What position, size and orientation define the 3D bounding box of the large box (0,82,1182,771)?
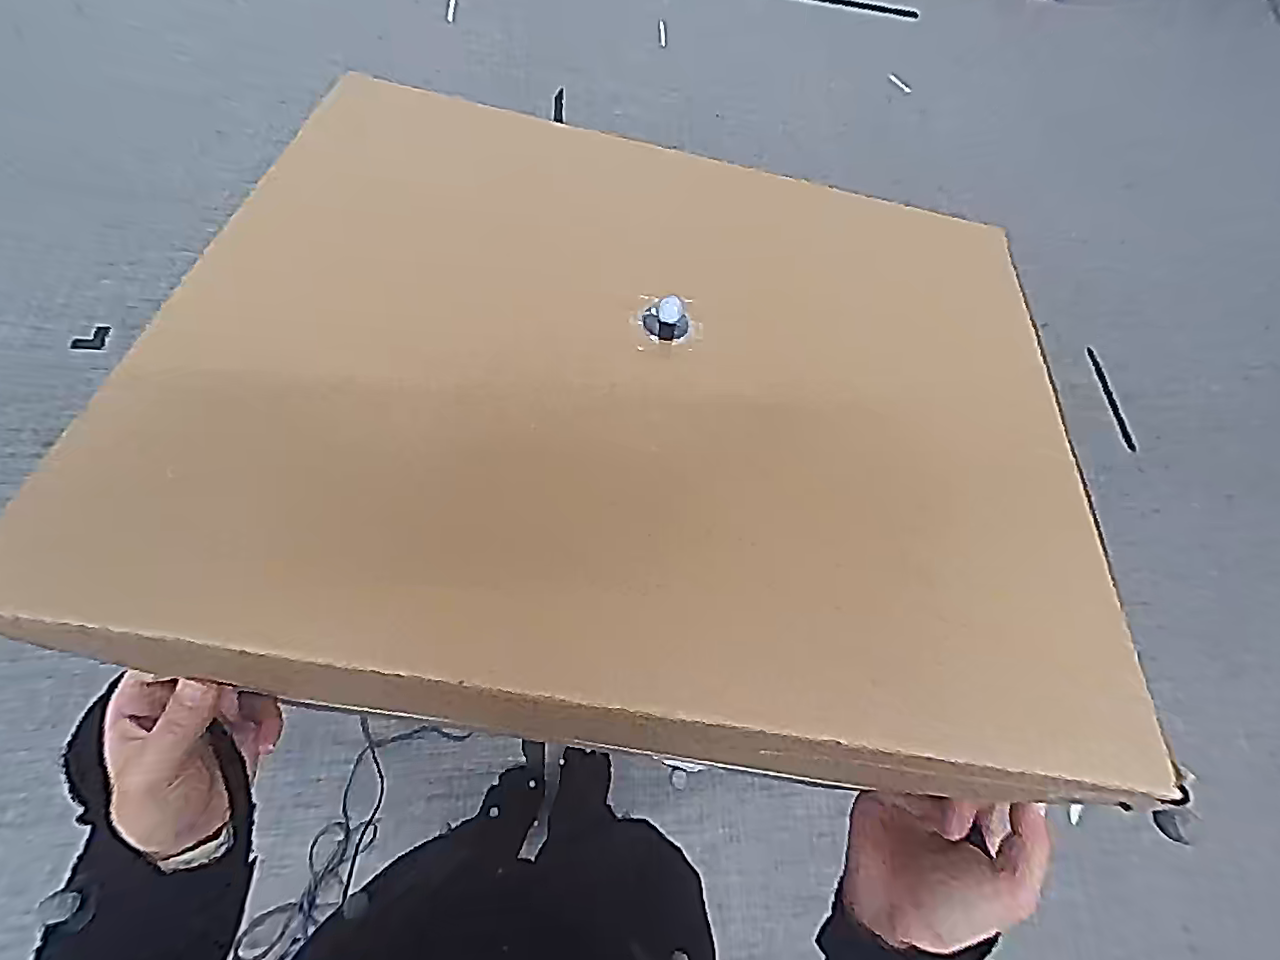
[{"bbox_3d":[-0.010,-0.002,0.377,0.408,0.320,0.320,10,63,-4],"label":"large box"}]
